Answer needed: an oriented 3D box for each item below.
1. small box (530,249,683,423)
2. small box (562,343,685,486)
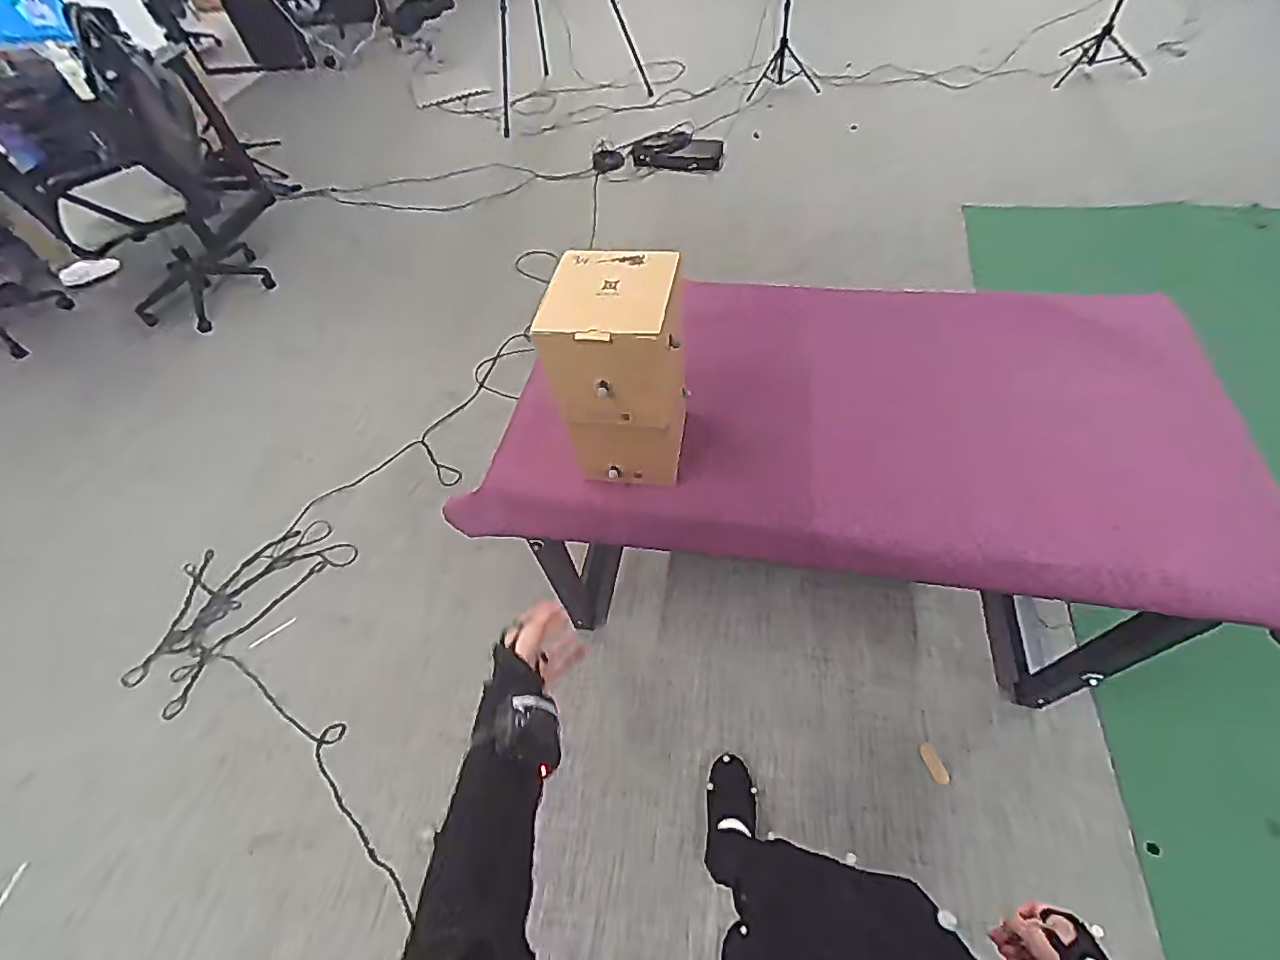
[{"bbox_3d":[-0.033,-0.199,0.760,0.168,0.176,0.179,6,56,11],"label":"small box"},{"bbox_3d":[-0.016,-0.113,0.899,0.168,0.176,0.179,4,56,10],"label":"small box"}]
